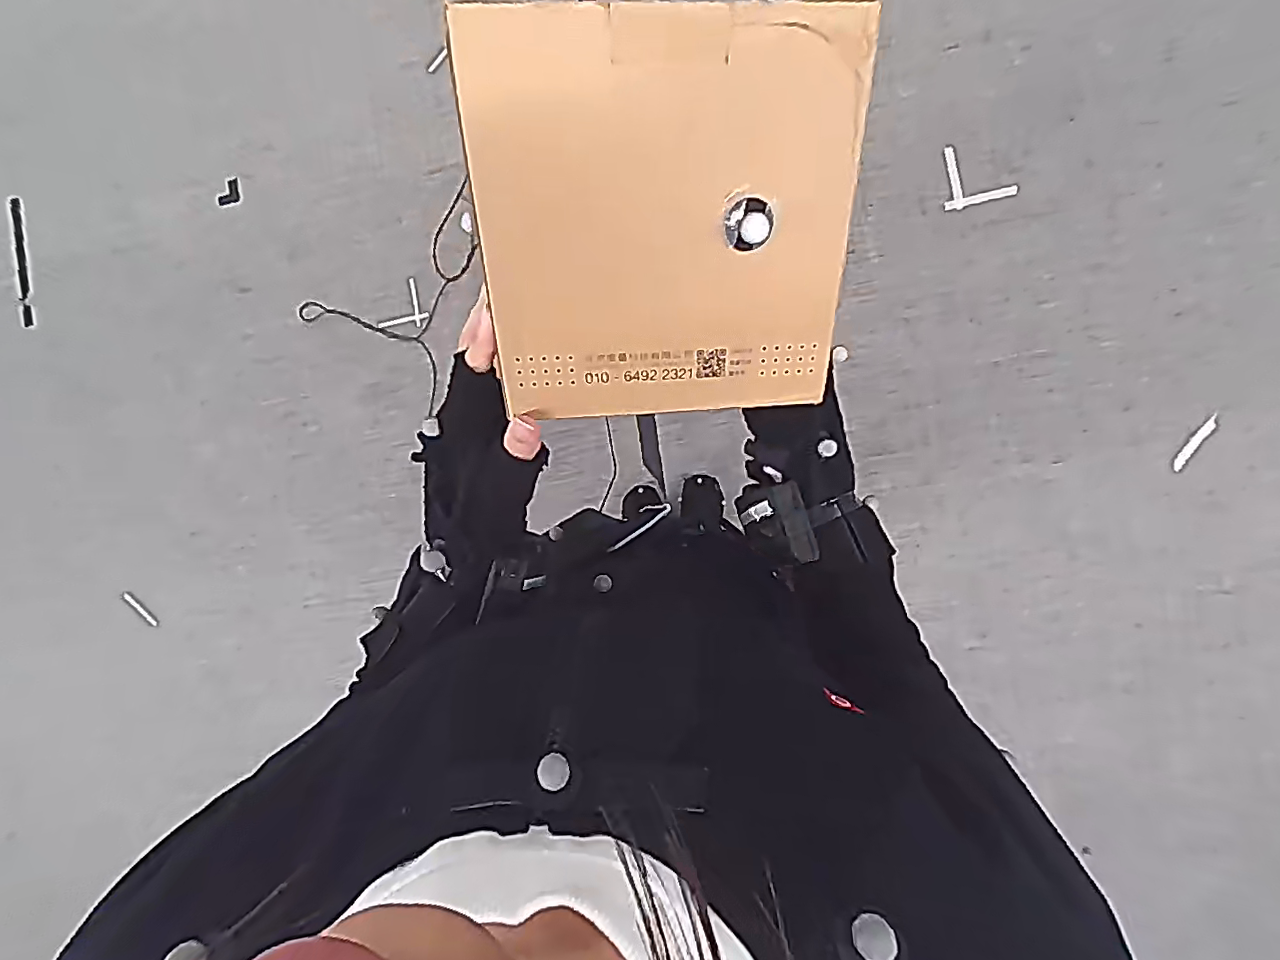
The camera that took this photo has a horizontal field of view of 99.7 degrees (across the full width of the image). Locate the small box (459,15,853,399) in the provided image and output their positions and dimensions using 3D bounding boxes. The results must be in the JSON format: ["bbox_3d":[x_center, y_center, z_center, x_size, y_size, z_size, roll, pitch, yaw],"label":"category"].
[{"bbox_3d":[0.006,-0.154,0.329,0.168,0.179,0.176,-3,121,-2],"label":"small box"}]
